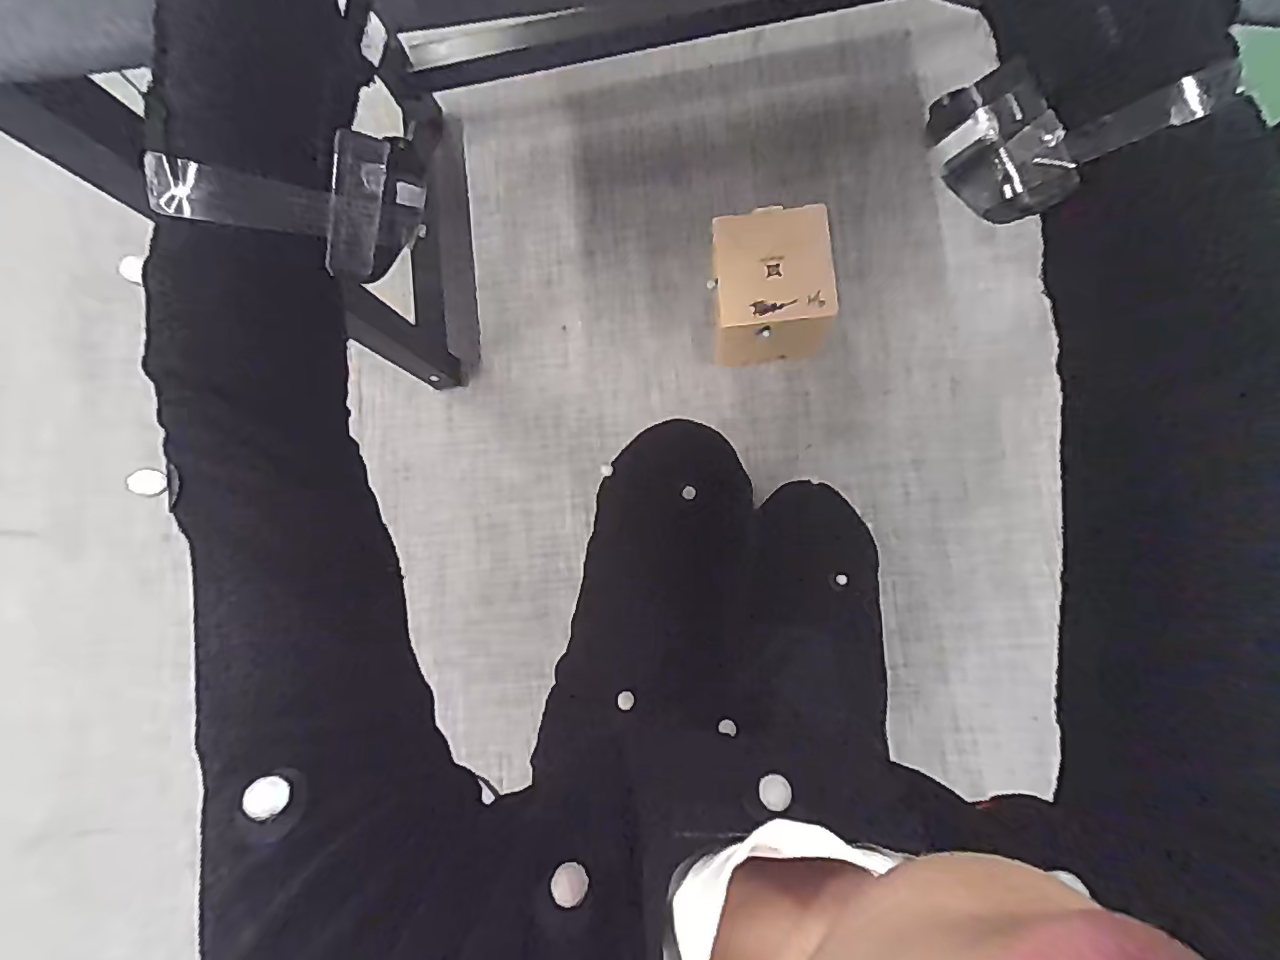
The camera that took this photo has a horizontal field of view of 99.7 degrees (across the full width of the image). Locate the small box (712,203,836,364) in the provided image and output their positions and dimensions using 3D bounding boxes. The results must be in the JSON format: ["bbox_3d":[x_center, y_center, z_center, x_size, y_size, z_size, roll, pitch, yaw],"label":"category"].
[{"bbox_3d":[0.203,-0.303,0.863,0.168,0.176,0.179,-4,81,8],"label":"small box"}]
